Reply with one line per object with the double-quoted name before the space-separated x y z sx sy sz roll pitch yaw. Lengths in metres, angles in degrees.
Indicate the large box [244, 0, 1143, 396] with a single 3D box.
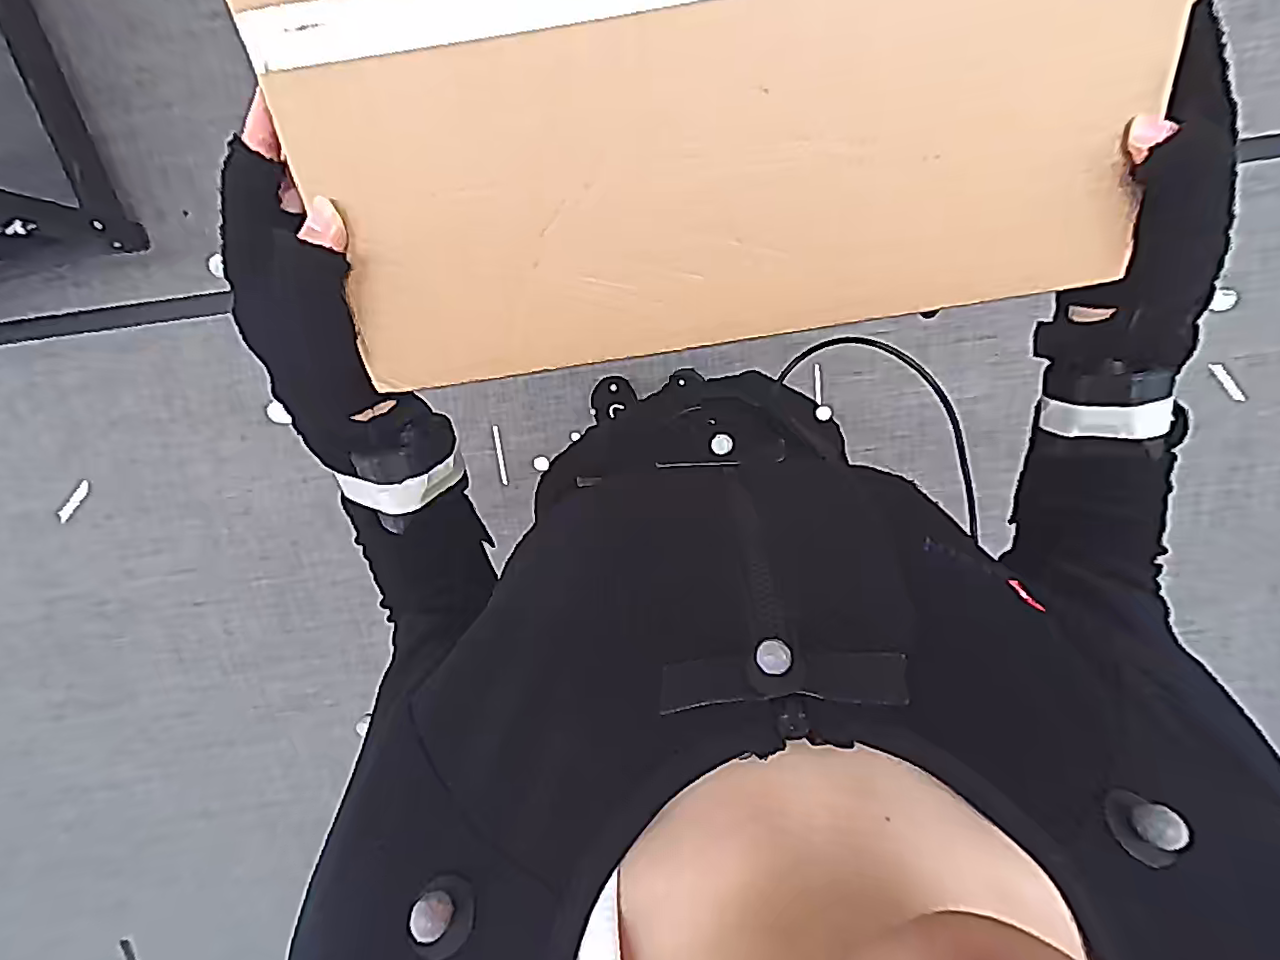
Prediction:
"large box" 0.024 -0.280 0.370 0.408 0.320 0.320 -9 115 1
